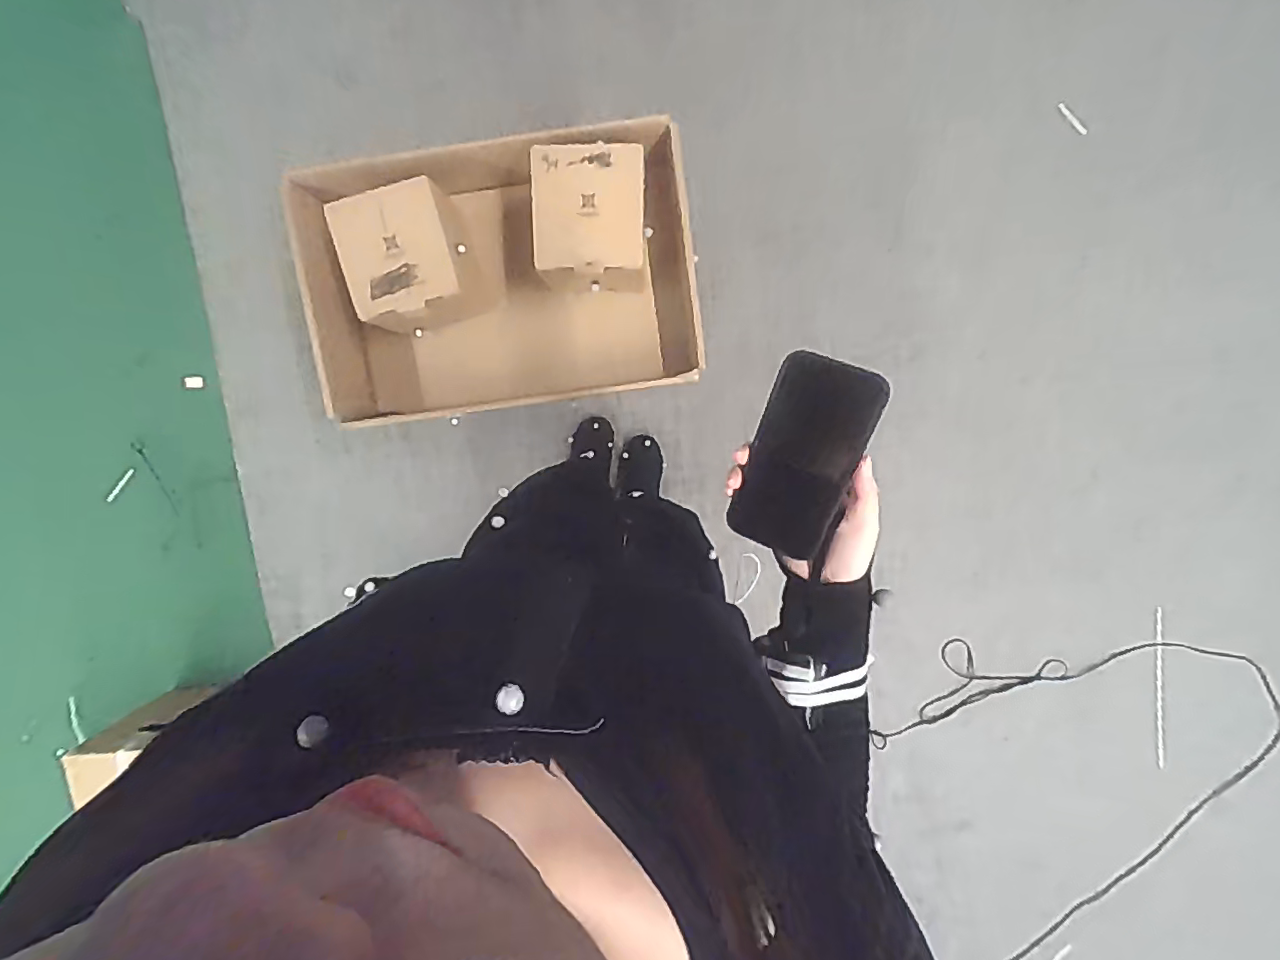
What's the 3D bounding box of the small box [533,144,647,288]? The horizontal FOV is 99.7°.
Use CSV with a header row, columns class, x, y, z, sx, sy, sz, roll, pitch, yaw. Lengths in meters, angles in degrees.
class,x,y,z,sx,sy,sz,roll,pitch,yaw
small box,-0.073,-0.412,0.873,0.168,0.176,0.179,0,99,1
